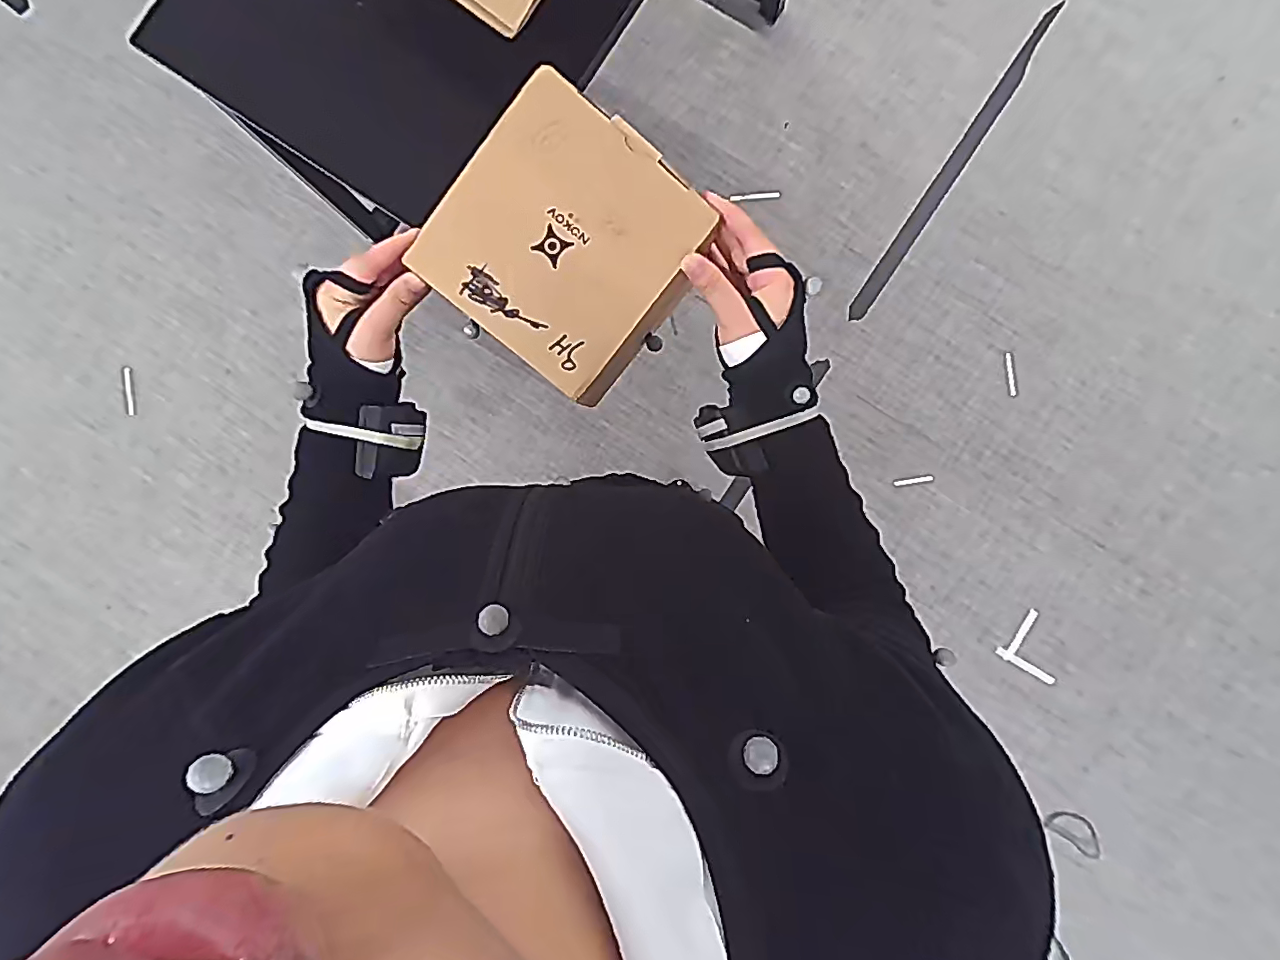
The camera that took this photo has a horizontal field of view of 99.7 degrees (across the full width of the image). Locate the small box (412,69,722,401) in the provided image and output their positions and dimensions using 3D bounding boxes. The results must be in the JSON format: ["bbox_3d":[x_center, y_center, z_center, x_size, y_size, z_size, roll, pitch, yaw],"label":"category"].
[{"bbox_3d":[-0.056,-0.188,0.478,0.168,0.176,0.179,39,94,-4],"label":"small box"}]
